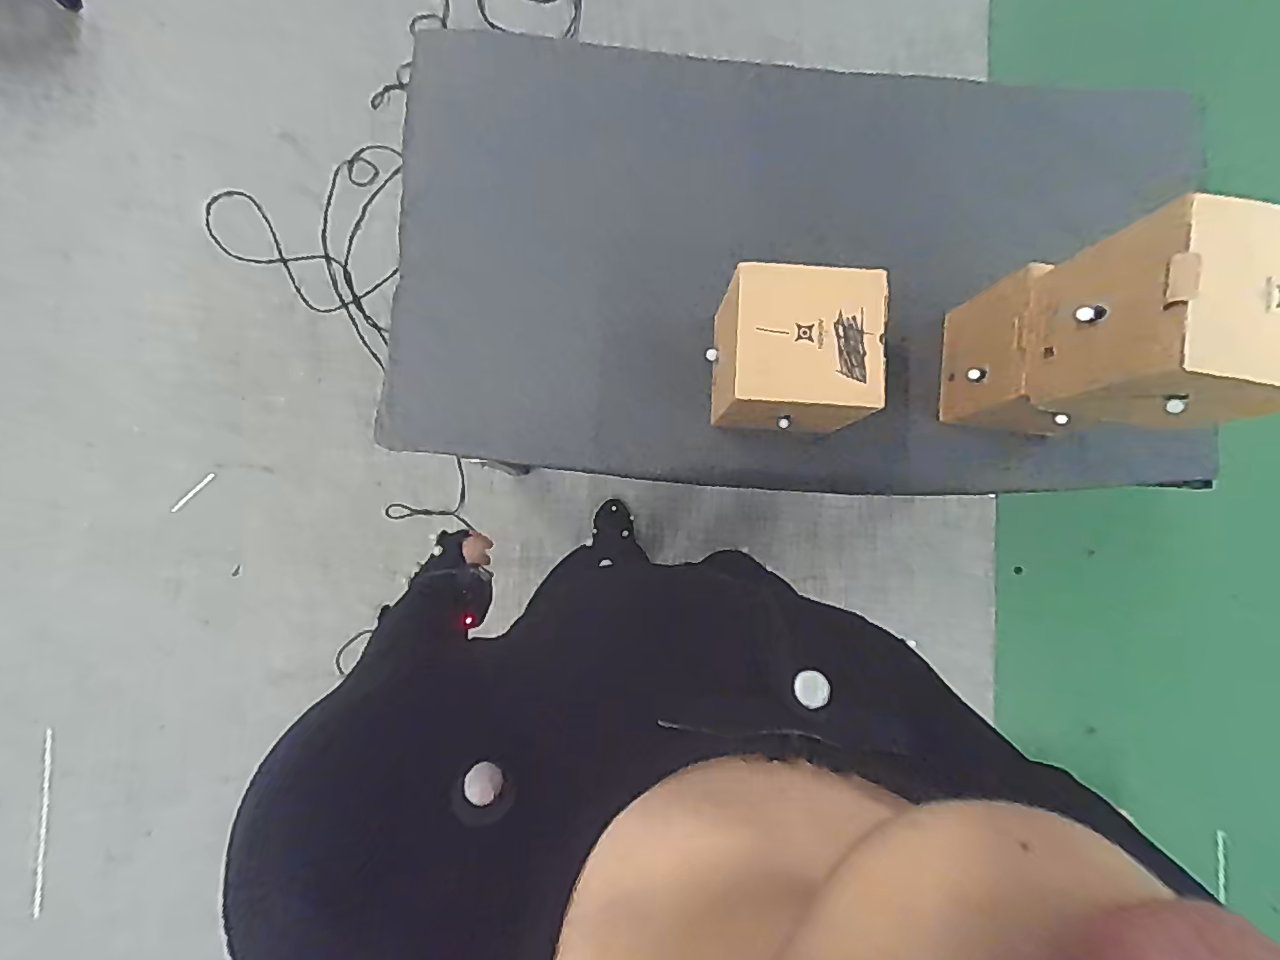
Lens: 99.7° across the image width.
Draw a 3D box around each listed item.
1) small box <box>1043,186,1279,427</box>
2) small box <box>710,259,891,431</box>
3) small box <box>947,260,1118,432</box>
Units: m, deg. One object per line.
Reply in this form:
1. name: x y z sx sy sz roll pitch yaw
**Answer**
1. small box: 0.549 -0.155 0.539 0.179 0.176 0.168 9 86 -1
2. small box: 0.192 -0.158 0.687 0.179 0.176 0.168 3 85 -1
3. small box: 0.531 -0.161 0.703 0.179 0.176 0.168 6 86 -3
